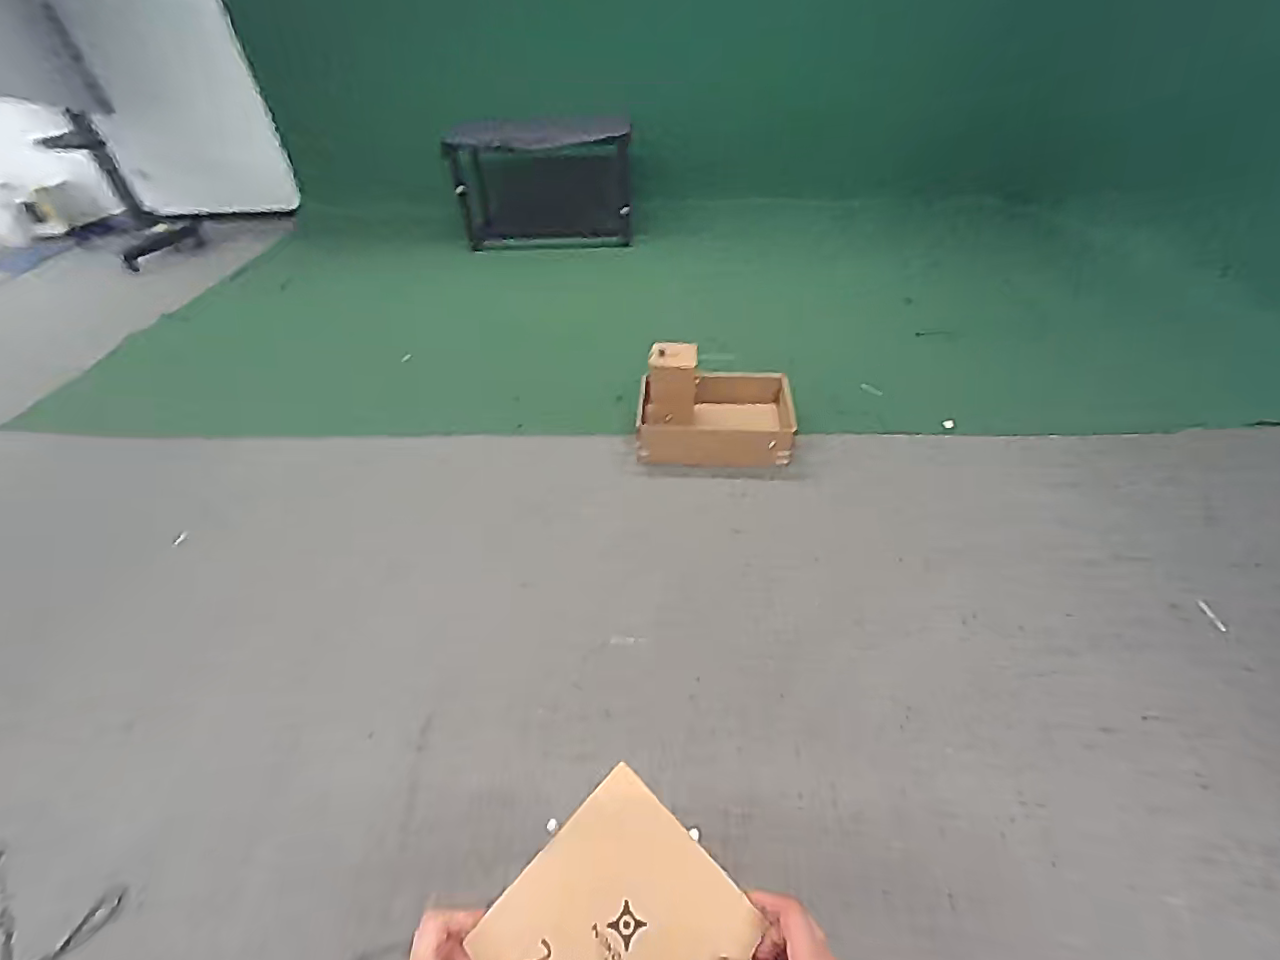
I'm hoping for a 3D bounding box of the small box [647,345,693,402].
[{"bbox_3d":[0.121,-0.424,2.165,0.179,0.176,0.168,2,45,3],"label":"small box"}]

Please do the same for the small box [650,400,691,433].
[{"bbox_3d":[0.132,-0.313,2.285,0.168,0.176,0.179,1,44,3],"label":"small box"}]

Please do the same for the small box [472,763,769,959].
[{"bbox_3d":[-0.018,0.394,0.482,0.168,0.176,0.179,38,61,22],"label":"small box"}]
